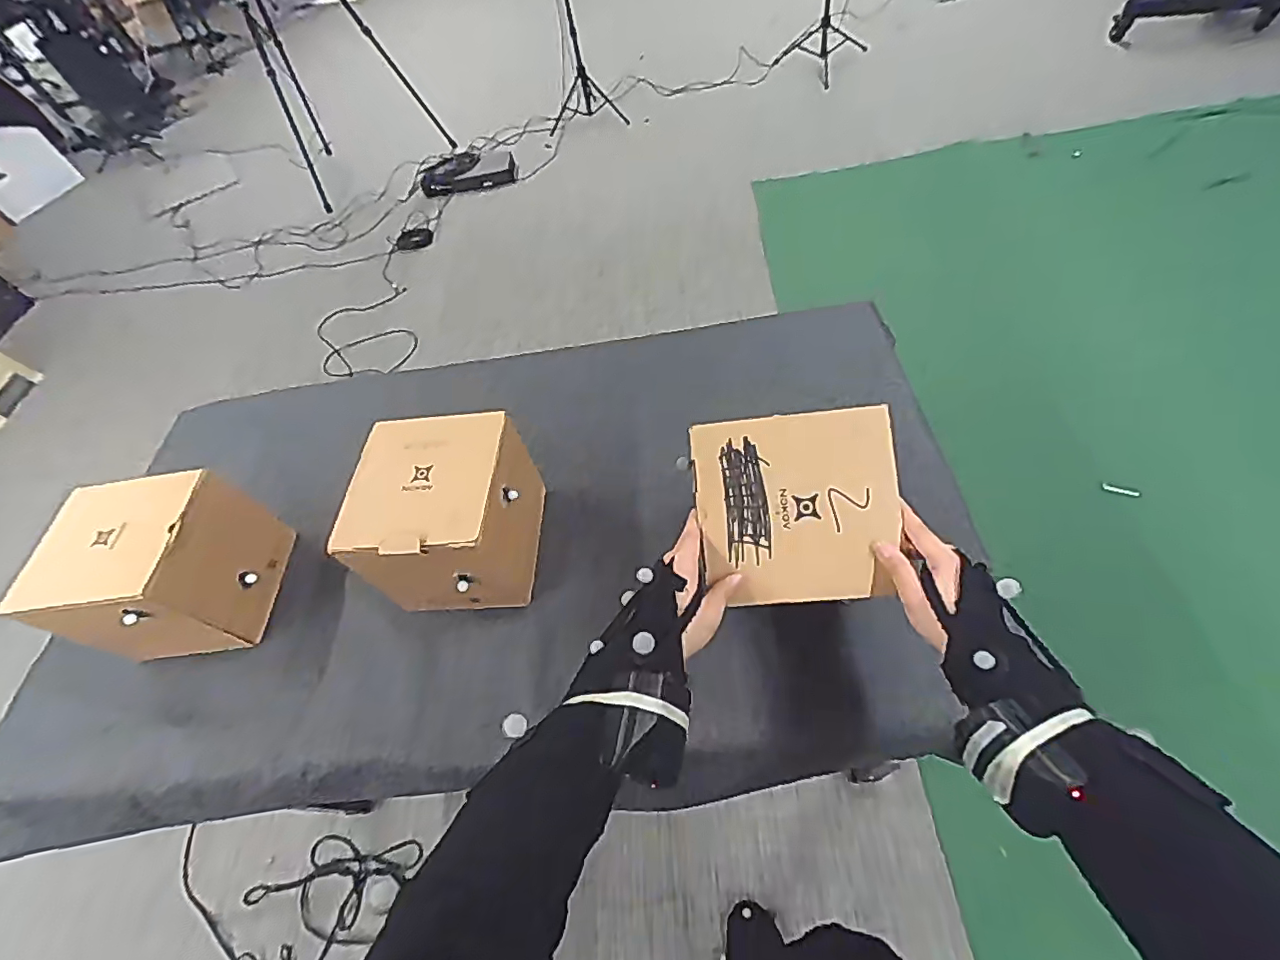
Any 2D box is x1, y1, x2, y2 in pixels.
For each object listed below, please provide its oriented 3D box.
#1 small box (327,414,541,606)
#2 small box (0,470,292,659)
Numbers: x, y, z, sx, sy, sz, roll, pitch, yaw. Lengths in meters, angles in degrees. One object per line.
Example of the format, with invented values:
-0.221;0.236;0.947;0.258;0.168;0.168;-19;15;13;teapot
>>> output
-0.226;0.045;0.651;0.168;0.176;0.179;-4;54;7;small box
-0.587;0.112;0.672;0.179;0.176;0.168;-8;54;4;small box
